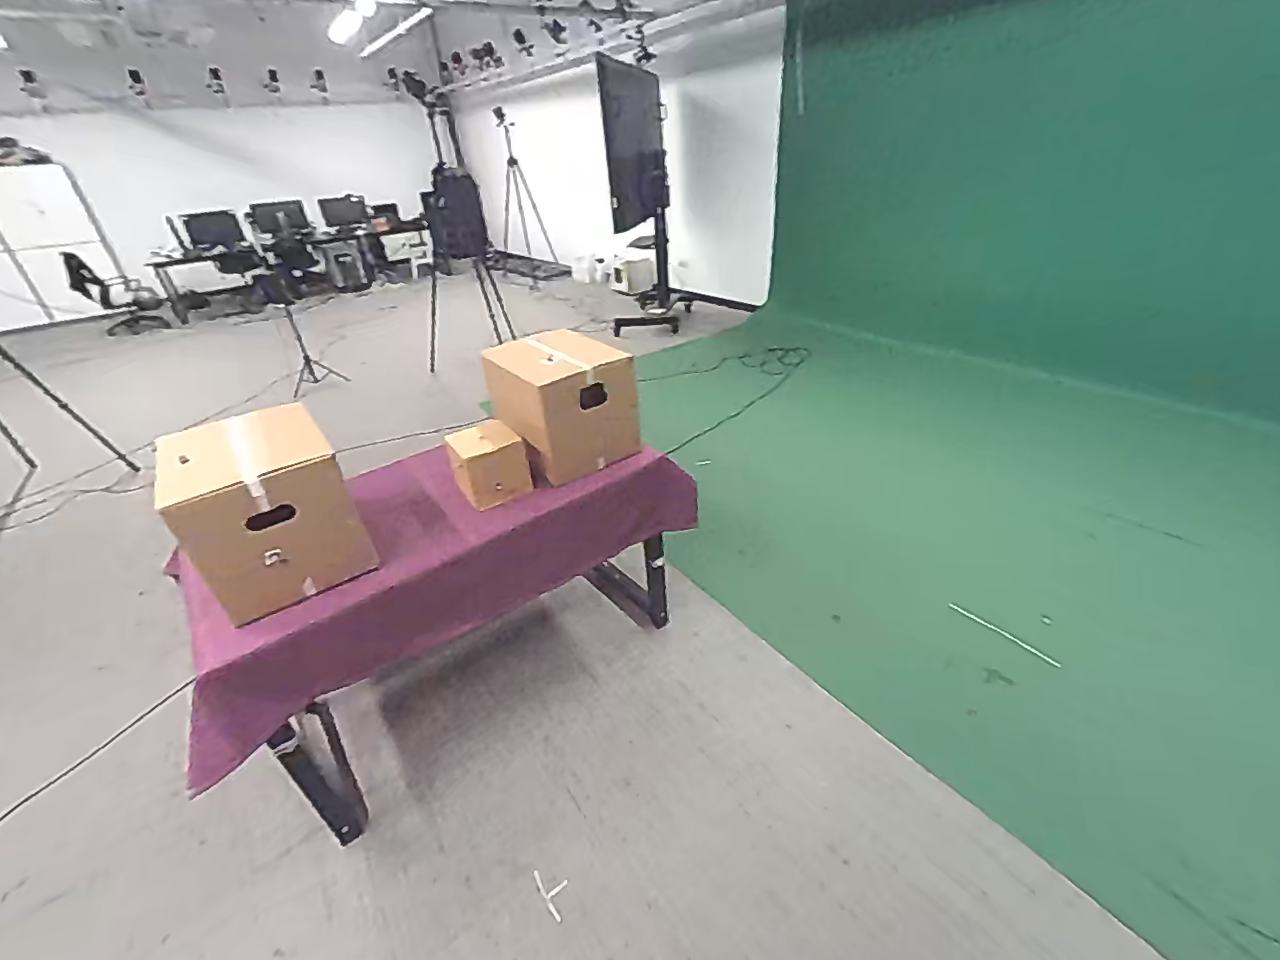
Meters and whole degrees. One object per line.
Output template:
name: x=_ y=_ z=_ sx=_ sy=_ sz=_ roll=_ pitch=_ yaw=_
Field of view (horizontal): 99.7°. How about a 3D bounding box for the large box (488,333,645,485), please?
large box: x=-0.226 y=-0.237 z=1.682 sx=0.320 sy=0.320 sz=0.408 roll=-24 pitch=37 yaw=-28
